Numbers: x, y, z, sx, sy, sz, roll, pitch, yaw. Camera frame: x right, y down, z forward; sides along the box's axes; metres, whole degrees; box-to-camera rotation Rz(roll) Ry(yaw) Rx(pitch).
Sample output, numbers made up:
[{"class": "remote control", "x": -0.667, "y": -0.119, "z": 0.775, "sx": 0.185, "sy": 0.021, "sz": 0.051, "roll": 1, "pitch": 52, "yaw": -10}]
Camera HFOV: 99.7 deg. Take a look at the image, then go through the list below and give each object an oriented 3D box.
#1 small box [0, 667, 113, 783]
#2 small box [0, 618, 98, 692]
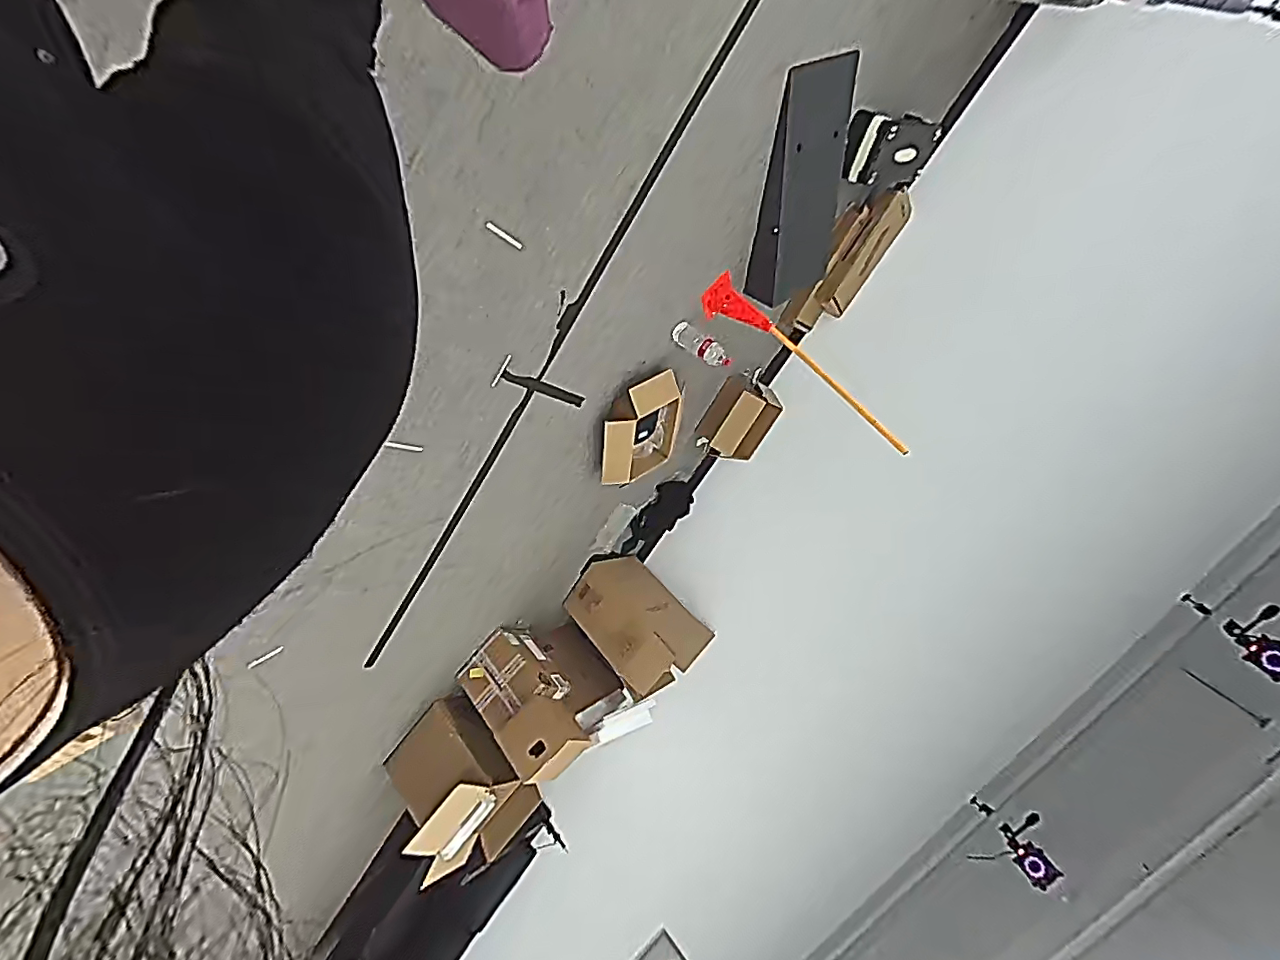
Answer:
[{"class": "small box", "x": -1.462, "y": 0.593, "z": 1.322, "sx": 0.179, "sy": 0.176, "sz": 0.168, "roll": -32, "pitch": 149, "yaw": -27}, {"class": "small box", "x": -1.572, "y": 0.494, "z": 1.396, "sx": 0.179, "sy": 0.176, "sz": 0.168, "roll": -33, "pitch": 149, "yaw": -26}]
